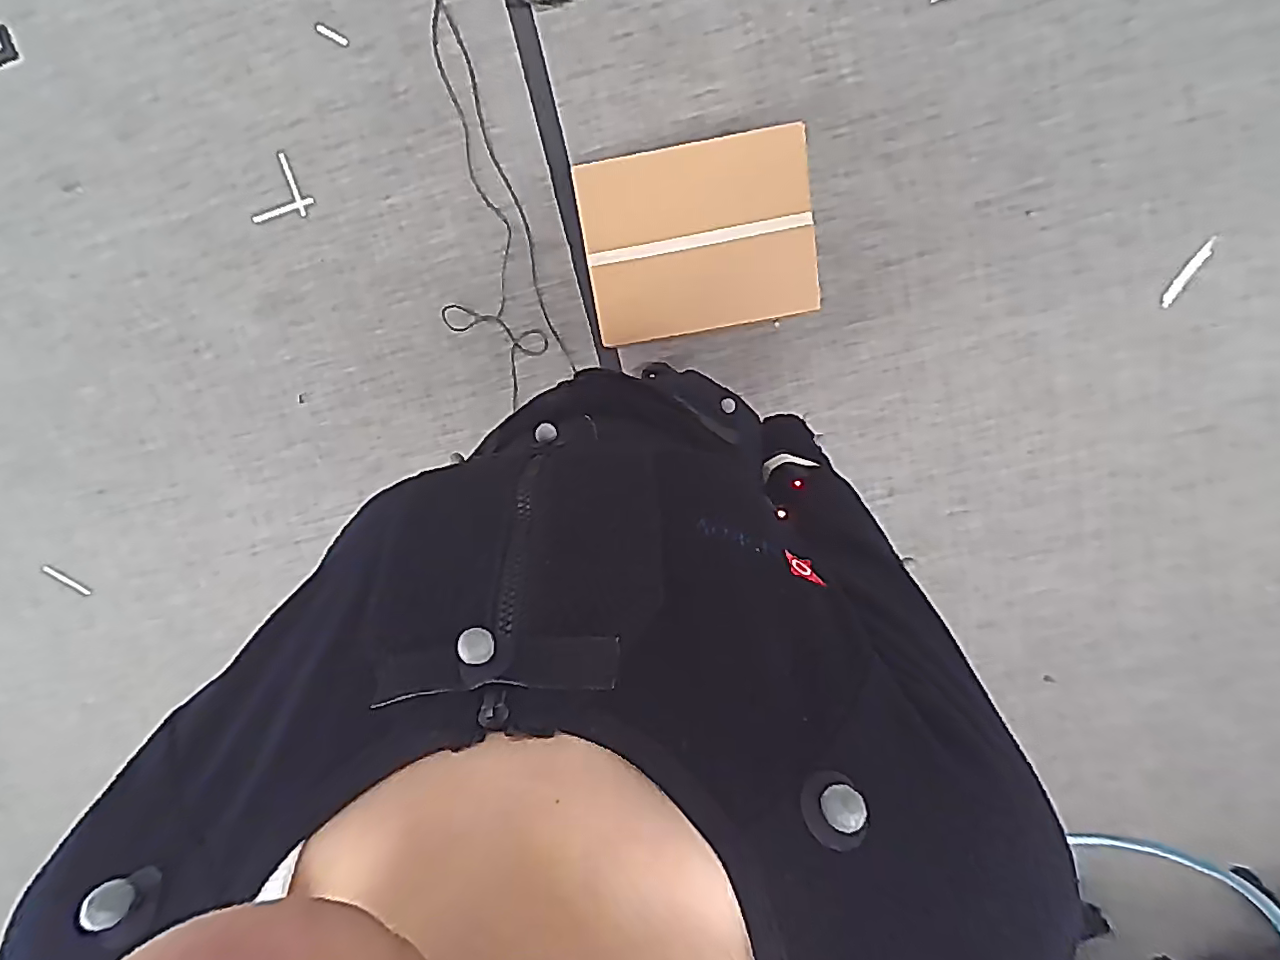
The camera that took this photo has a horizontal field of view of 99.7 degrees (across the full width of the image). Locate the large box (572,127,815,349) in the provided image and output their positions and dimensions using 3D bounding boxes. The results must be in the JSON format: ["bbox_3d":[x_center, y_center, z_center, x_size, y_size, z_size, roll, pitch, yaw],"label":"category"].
[{"bbox_3d":[0.105,-0.461,1.113,0.408,0.320,0.320,-9,102,4],"label":"large box"}]
